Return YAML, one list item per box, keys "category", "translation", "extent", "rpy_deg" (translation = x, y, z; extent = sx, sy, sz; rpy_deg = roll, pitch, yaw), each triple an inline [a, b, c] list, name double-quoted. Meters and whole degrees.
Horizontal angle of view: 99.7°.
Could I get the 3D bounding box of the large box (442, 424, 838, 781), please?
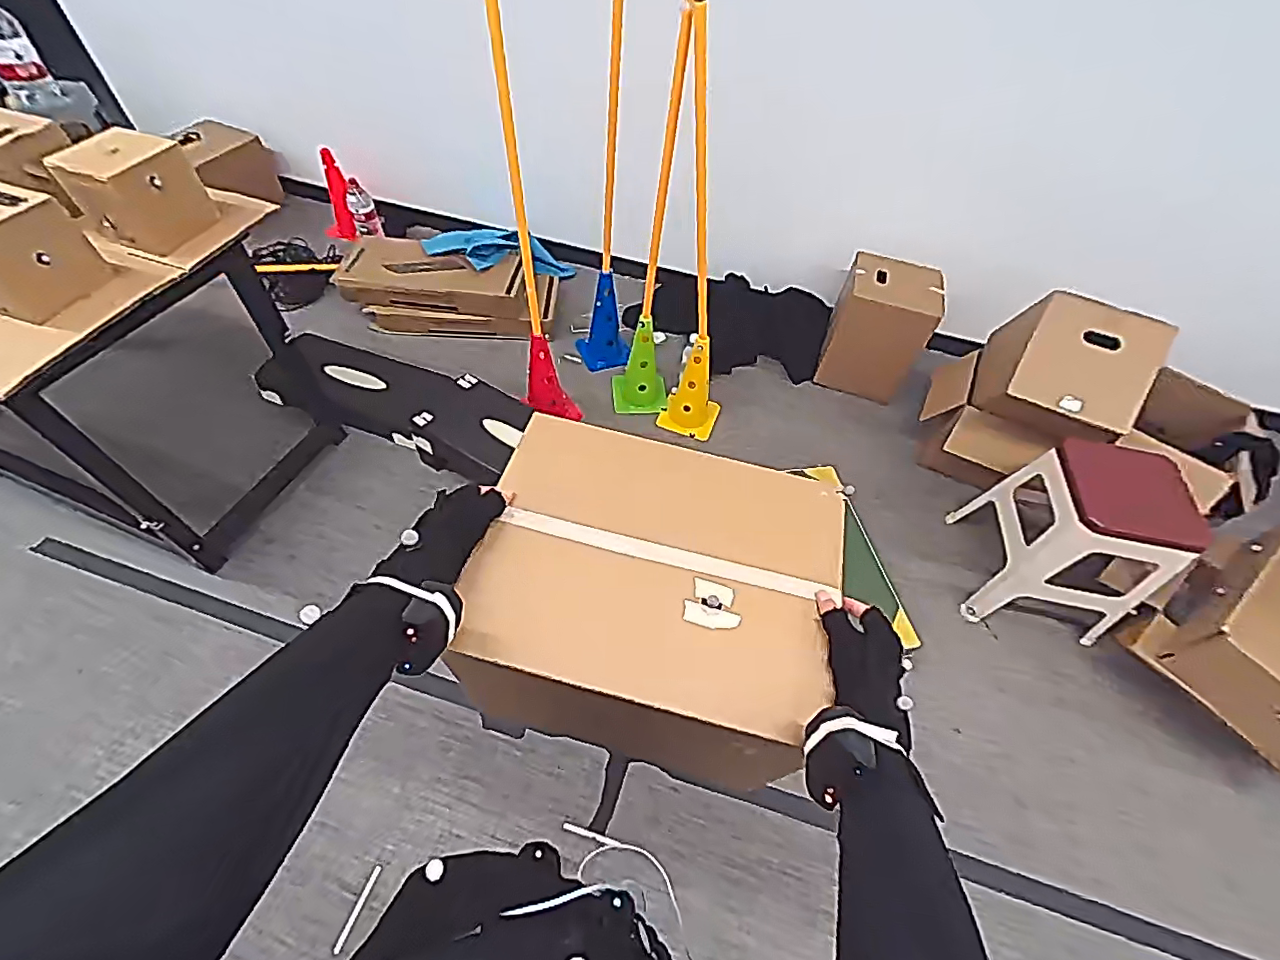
- category: "large box"
  translation: [0.010, 0.174, 0.735]
  extent: [0.408, 0.320, 0.320]
  rpy_deg: [14, 56, 4]
